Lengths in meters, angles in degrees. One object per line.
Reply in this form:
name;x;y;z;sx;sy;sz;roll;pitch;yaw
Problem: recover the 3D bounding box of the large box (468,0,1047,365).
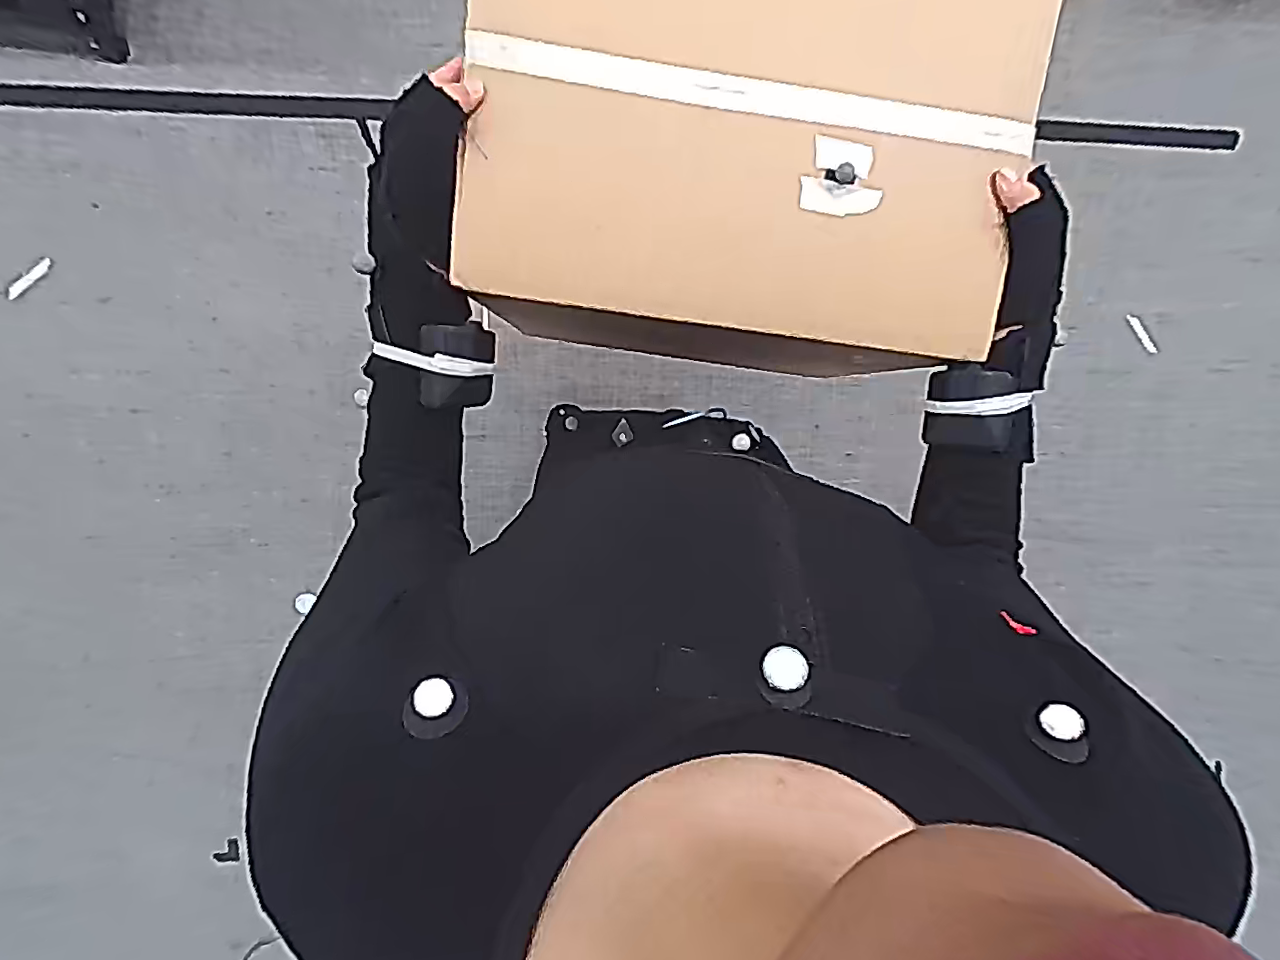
large box;0.075;-0.298;0.536;0.408;0.320;0.320;7;99;-5
